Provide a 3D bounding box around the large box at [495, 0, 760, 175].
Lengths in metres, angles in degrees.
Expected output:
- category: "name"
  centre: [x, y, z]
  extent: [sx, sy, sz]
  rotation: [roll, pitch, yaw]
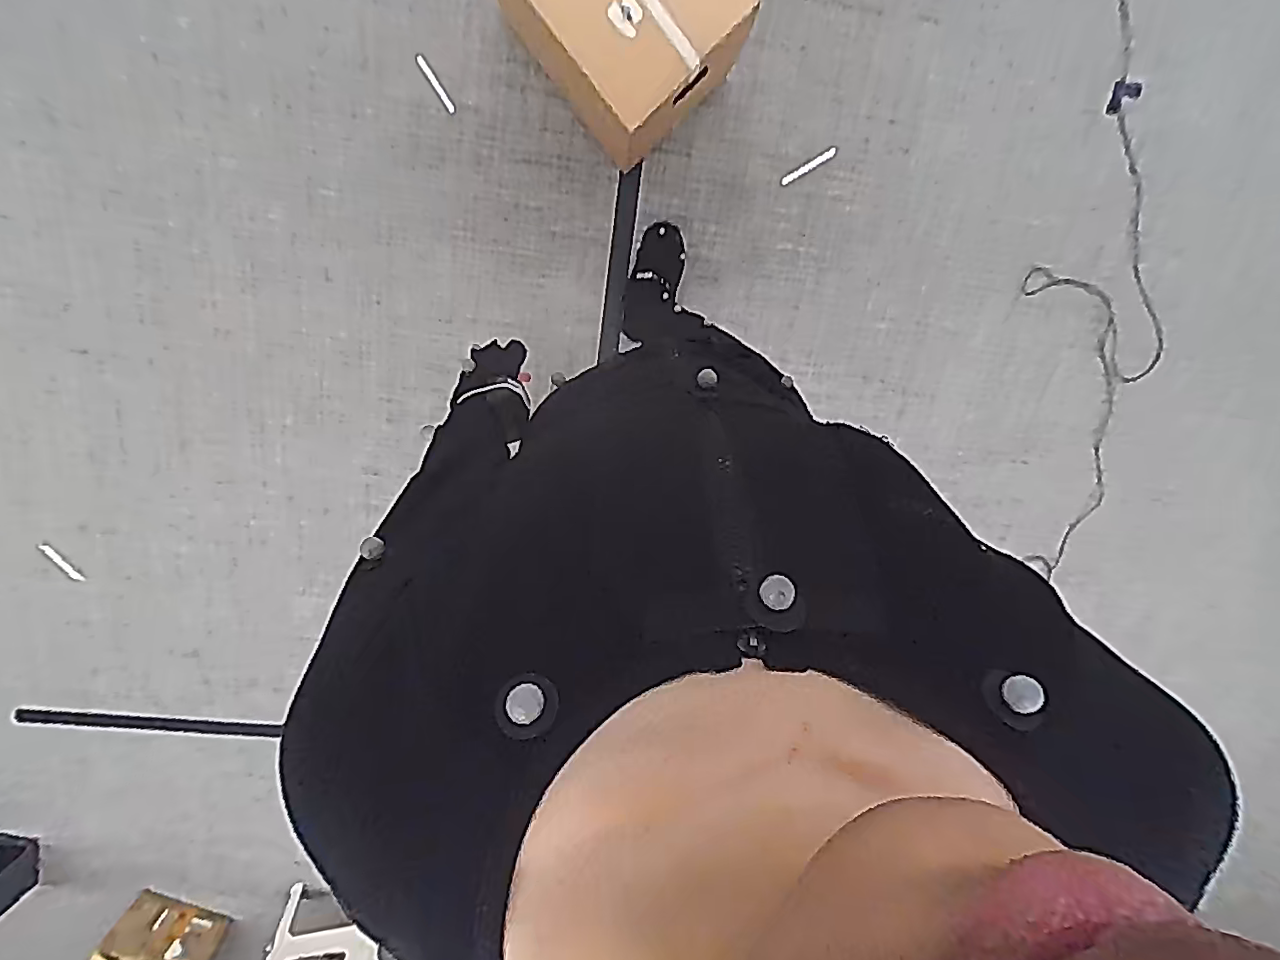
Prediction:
- category: "large box"
  centre: [-0.045, -0.908, 1.061]
  extent: [0.320, 0.320, 0.408]
  rotation: [-41, 106, 9]
